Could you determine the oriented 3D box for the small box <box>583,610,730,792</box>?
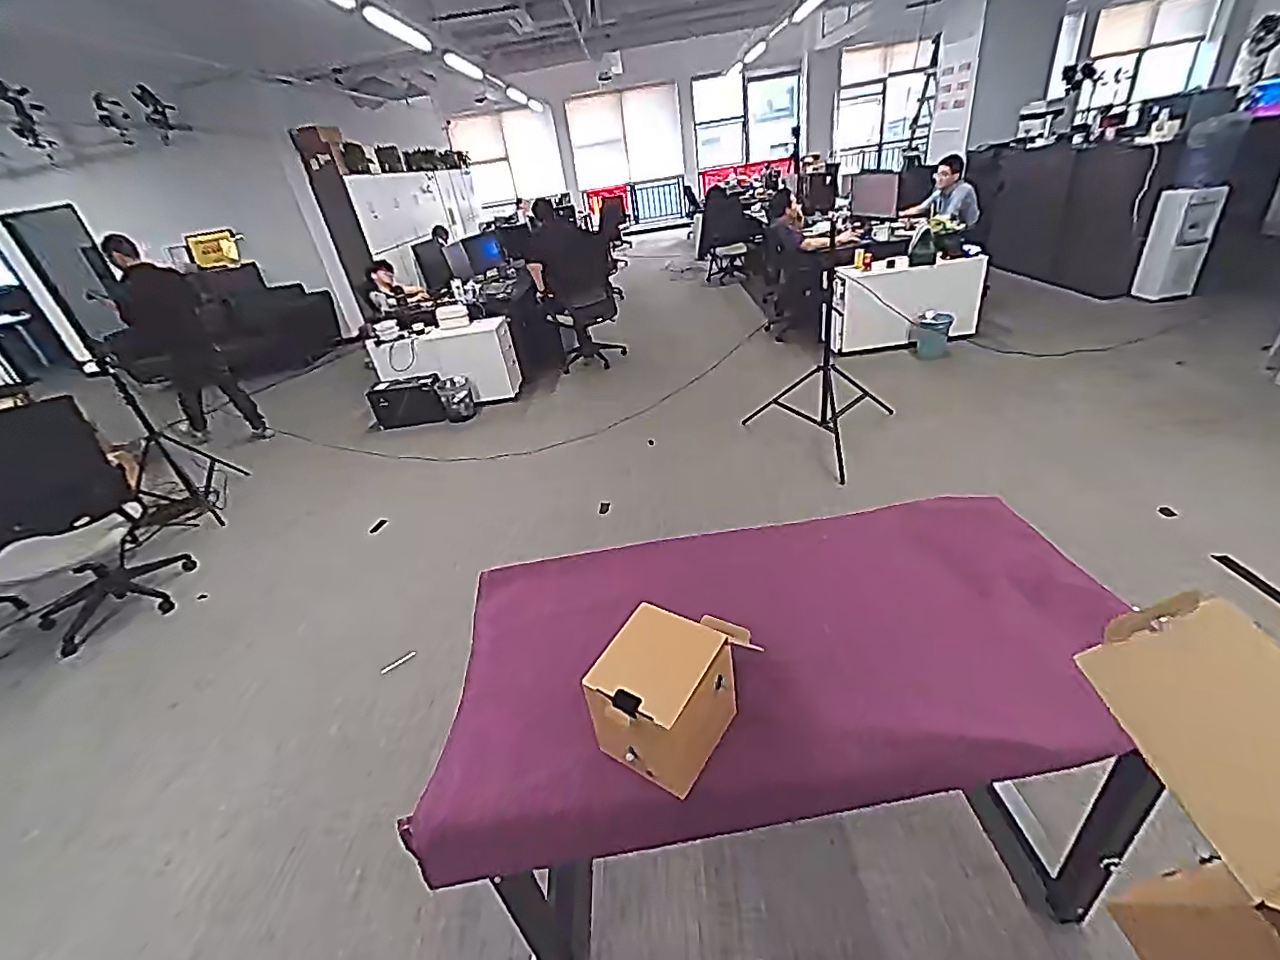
[{"bbox_3d":[0.036,0.348,0.869,0.168,0.176,0.179,12,36,35],"label":"small box"}]
